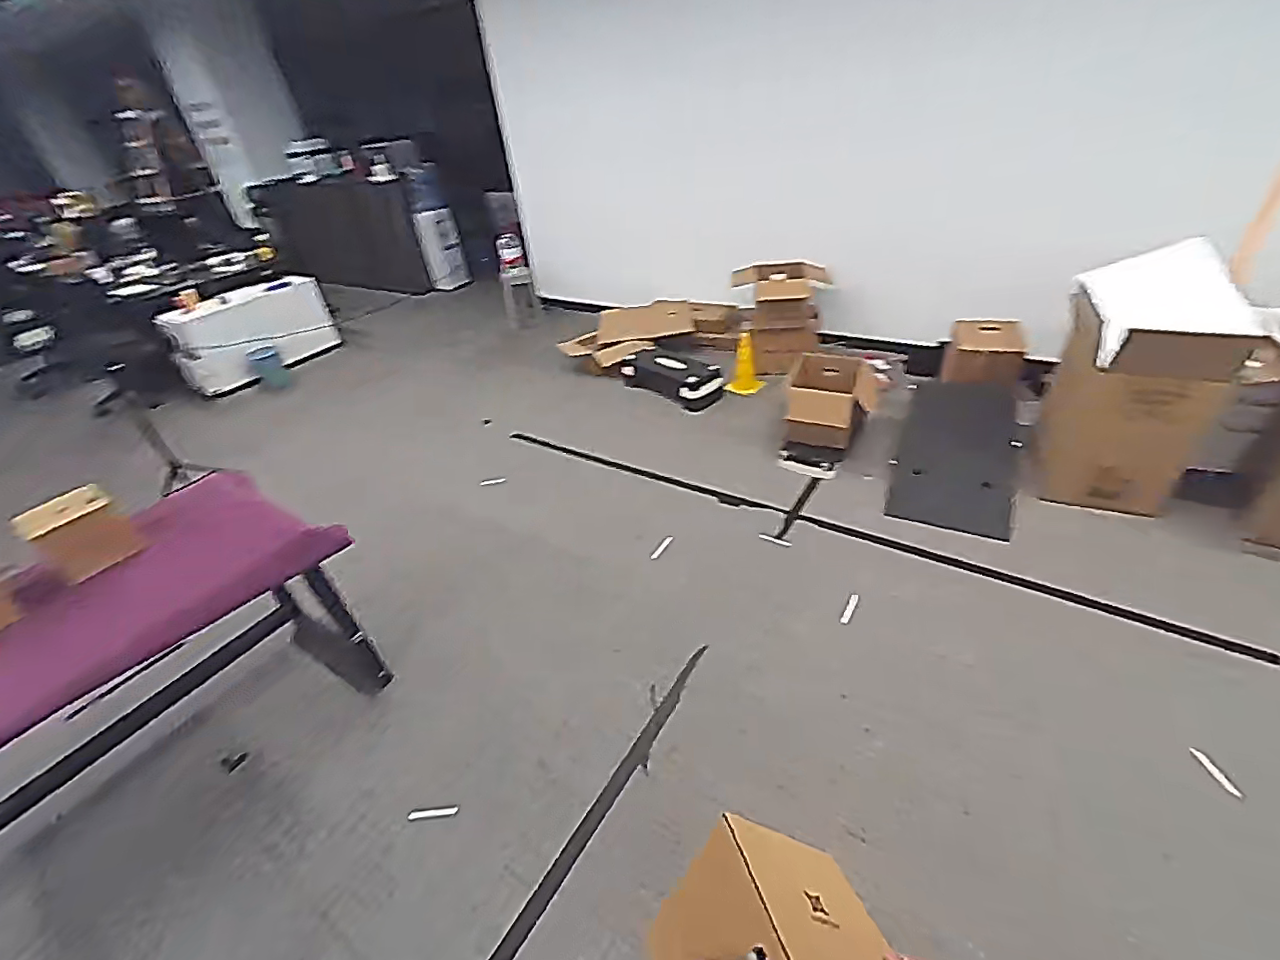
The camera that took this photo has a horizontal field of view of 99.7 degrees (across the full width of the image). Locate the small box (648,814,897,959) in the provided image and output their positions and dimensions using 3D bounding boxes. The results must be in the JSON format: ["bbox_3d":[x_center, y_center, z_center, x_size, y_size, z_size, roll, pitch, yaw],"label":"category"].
[{"bbox_3d":[0.128,0.481,0.522,0.176,0.168,0.179,-57,17,3],"label":"small box"}]
